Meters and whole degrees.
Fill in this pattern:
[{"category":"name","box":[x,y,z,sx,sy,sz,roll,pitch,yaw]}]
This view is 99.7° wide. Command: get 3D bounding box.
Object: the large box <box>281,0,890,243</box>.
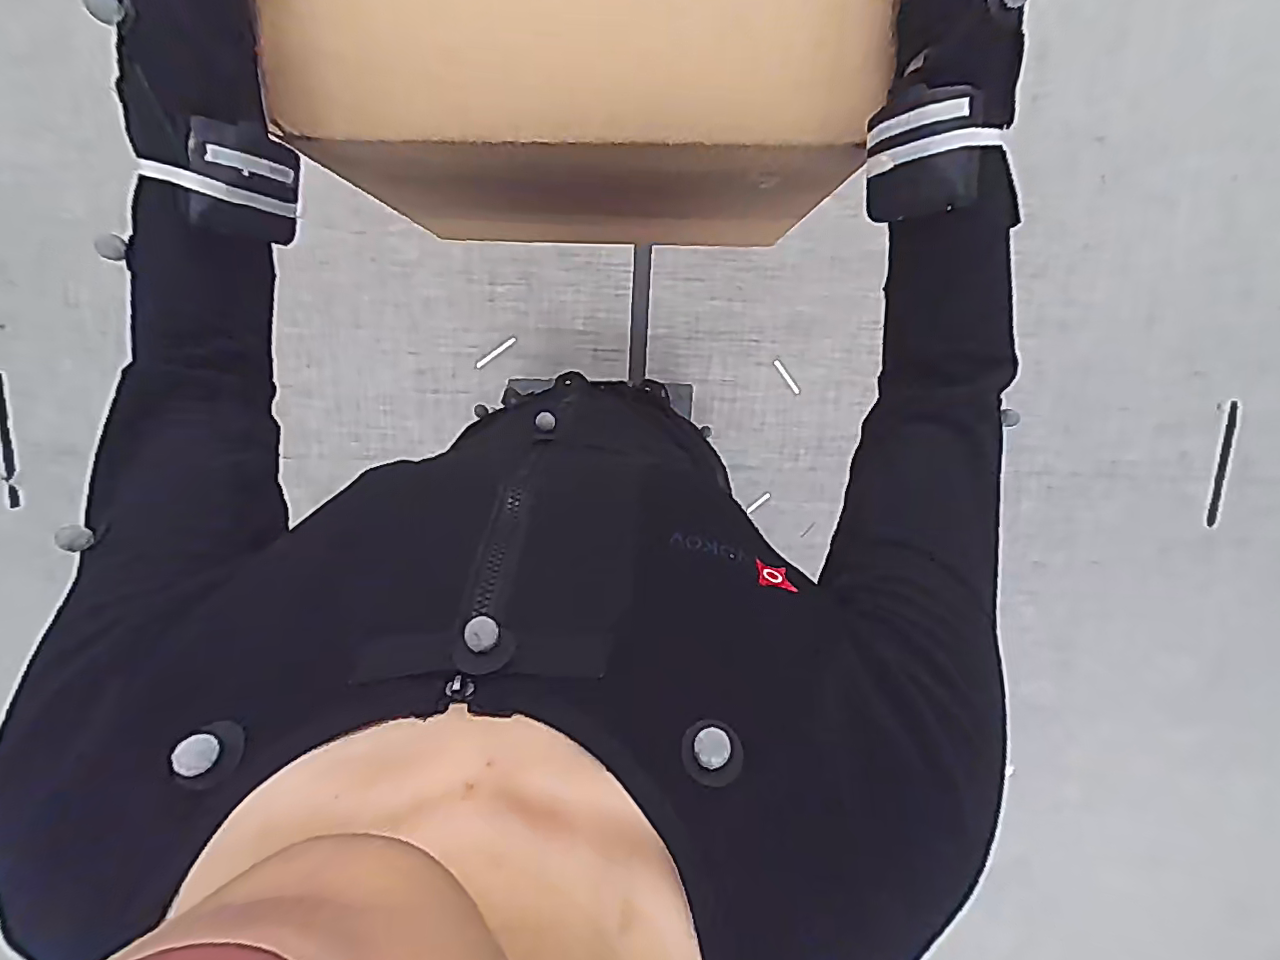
[{"category":"large box","box":[-0.036,-0.411,0.483,0.408,0.320,0.320,0,103,0]}]
